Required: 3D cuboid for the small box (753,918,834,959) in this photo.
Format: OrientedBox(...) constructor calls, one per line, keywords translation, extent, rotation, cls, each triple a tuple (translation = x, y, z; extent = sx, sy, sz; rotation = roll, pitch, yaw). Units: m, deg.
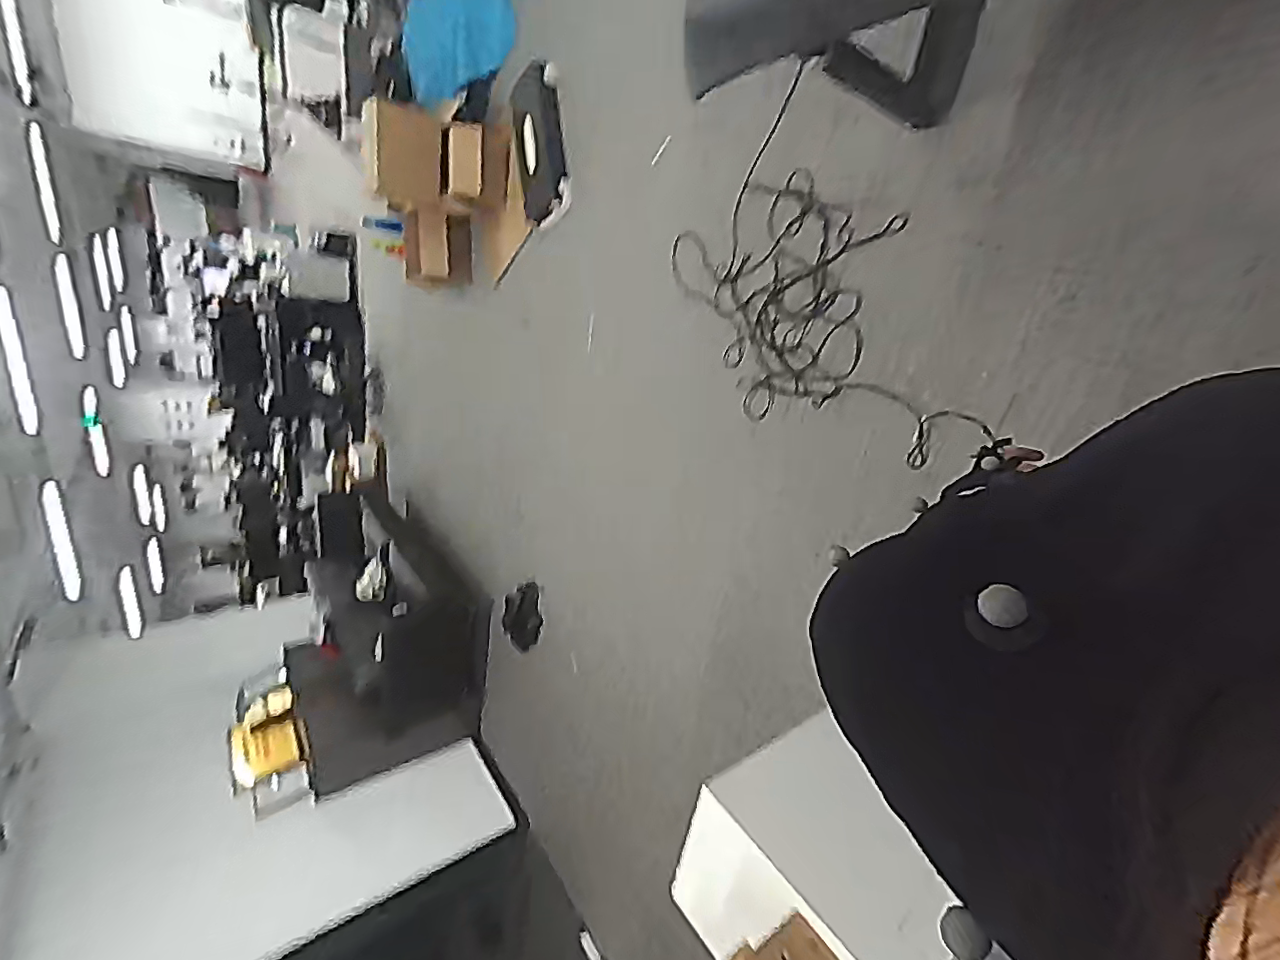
OrientedBox(translation=(0.280, 0.959, 0.980), extent=(0.168, 0.176, 0.179), rotation=(35, 124, 45), cls="small box")
